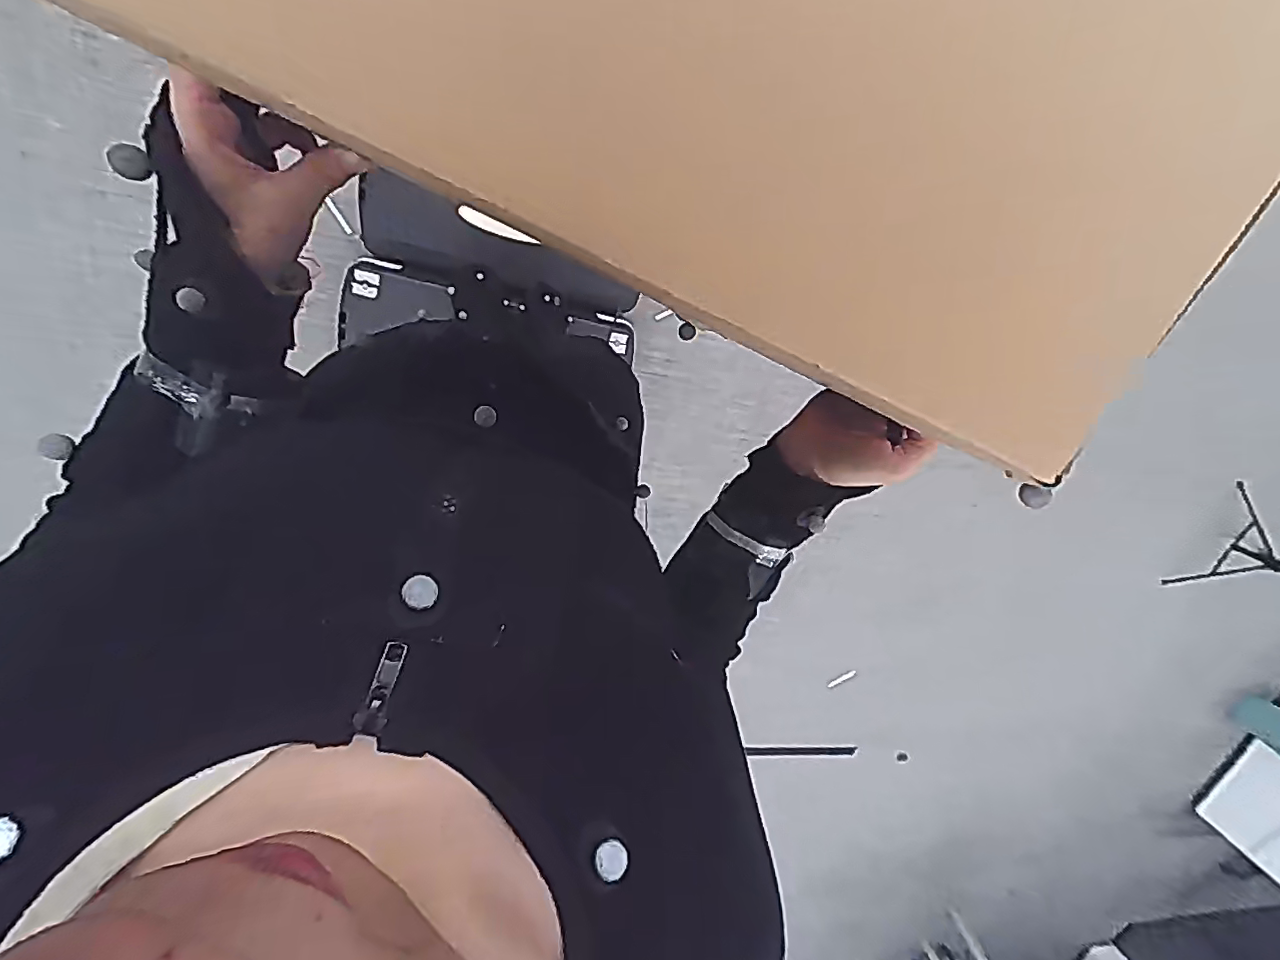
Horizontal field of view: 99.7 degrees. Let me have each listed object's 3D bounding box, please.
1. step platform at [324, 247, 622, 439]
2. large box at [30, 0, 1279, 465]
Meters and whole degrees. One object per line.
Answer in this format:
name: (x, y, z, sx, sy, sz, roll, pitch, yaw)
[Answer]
step platform: (-0.390, -0.325, 1.345, 0.684, 0.204, 0.286, 14, 111, -16)
large box: (0.038, -0.260, 0.274, 0.408, 0.320, 0.320, 21, 110, -12)
